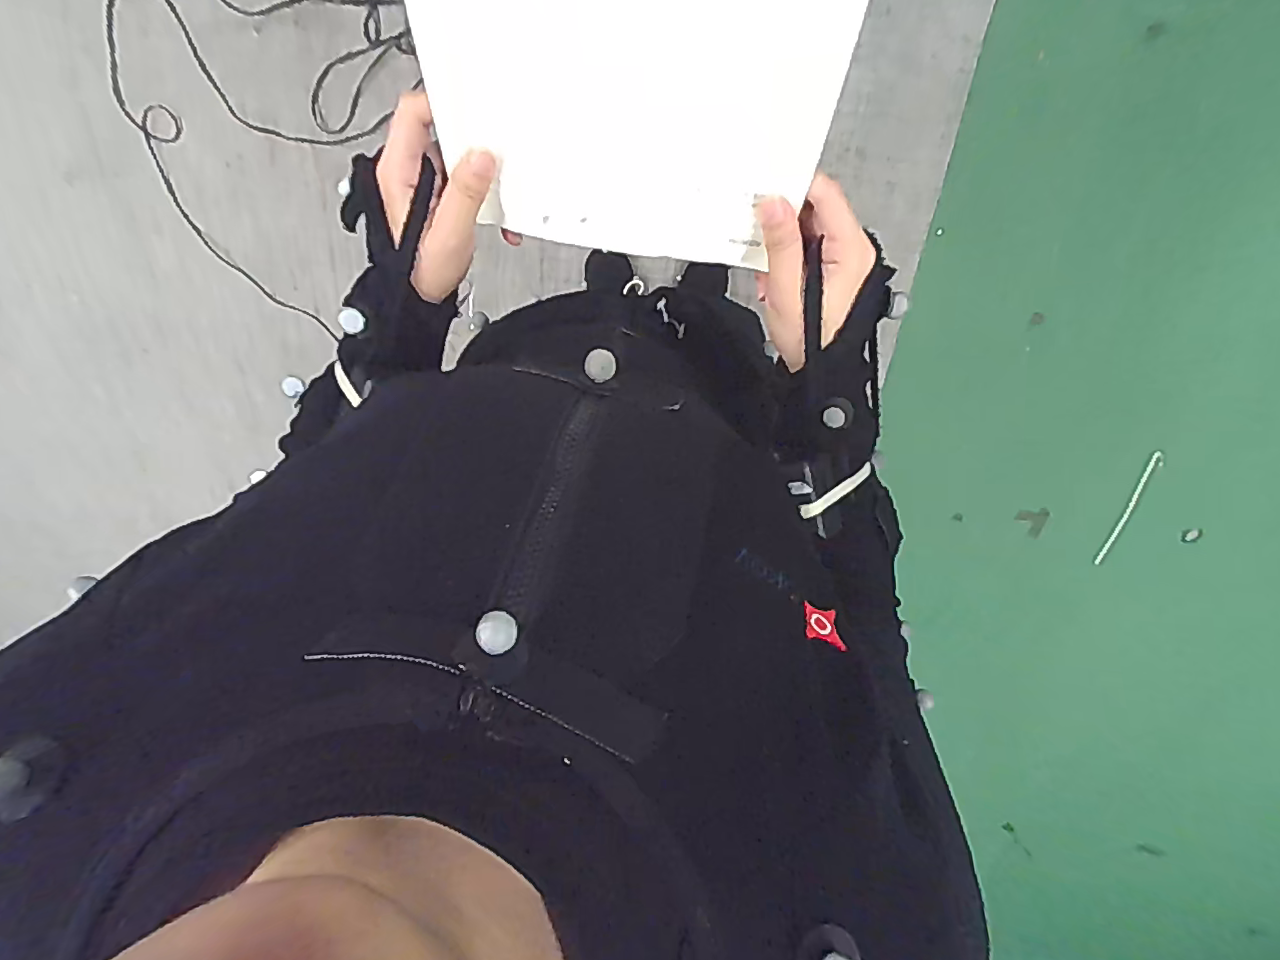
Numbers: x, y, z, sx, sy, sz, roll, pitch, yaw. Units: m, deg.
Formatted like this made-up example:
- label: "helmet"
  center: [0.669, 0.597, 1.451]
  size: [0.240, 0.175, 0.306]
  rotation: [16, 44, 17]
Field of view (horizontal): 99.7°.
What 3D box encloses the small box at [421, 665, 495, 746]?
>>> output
- label: "small box"
  center: [-0.573, 0.718, 1.735]
  size: [0.179, 0.176, 0.168]
  rotation: [5, 115, 5]
